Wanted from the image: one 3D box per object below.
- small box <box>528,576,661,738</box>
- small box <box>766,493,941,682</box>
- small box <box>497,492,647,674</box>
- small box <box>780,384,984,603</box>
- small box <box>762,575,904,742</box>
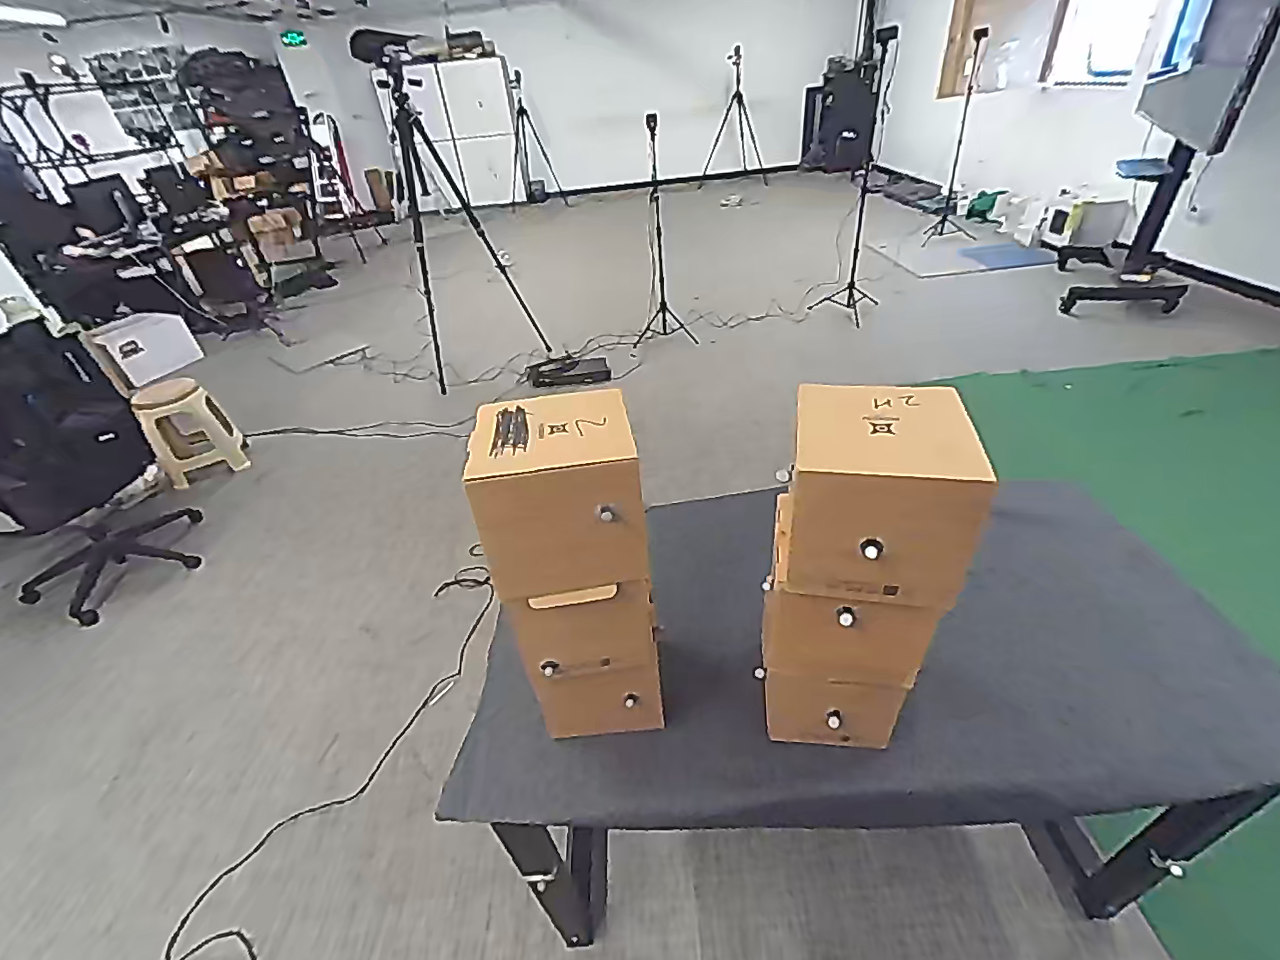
[{"bbox_3d":[-0.061,0.273,0.835,0.179,0.176,0.168,-7,35,1],"label":"small box"},{"bbox_3d":[0.256,0.135,0.691,0.179,0.176,0.168,2,37,14],"label":"small box"},{"bbox_3d":[-0.087,0.143,0.737,0.168,0.176,0.179,-9,34,-3],"label":"small box"},{"bbox_3d":[0.241,0.010,0.583,0.168,0.176,0.179,3,37,14],"label":"small box"},{"bbox_3d":[0.269,0.260,0.795,0.168,0.176,0.179,-1,37,9],"label":"small box"}]
